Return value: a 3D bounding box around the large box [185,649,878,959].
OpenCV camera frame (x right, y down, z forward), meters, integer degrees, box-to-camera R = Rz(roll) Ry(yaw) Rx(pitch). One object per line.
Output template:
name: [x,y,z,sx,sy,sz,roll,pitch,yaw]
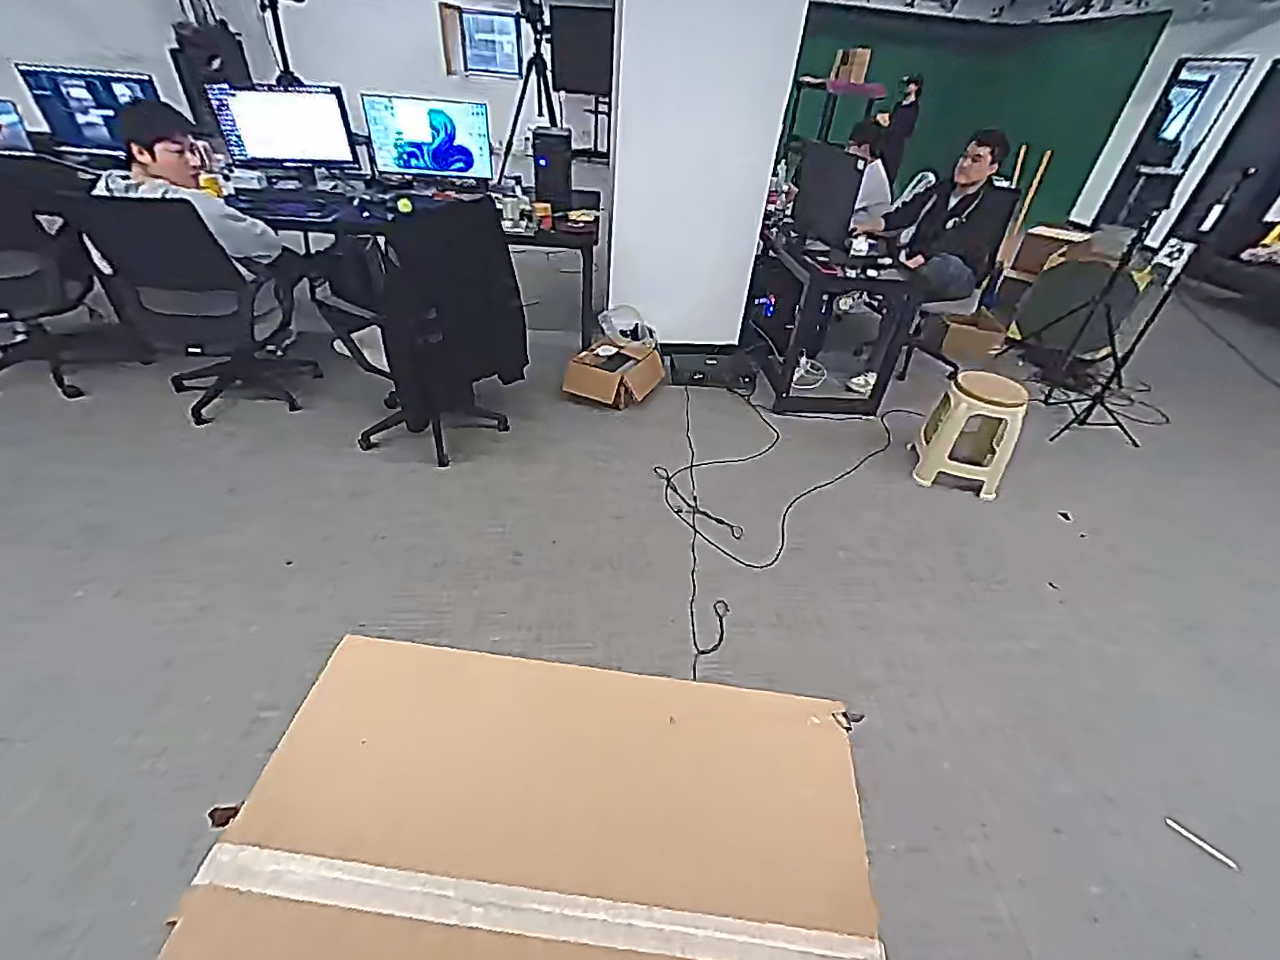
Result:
large box: [-0.065,0.370,0.431,0.408,0.320,0.320,7,44,2]
